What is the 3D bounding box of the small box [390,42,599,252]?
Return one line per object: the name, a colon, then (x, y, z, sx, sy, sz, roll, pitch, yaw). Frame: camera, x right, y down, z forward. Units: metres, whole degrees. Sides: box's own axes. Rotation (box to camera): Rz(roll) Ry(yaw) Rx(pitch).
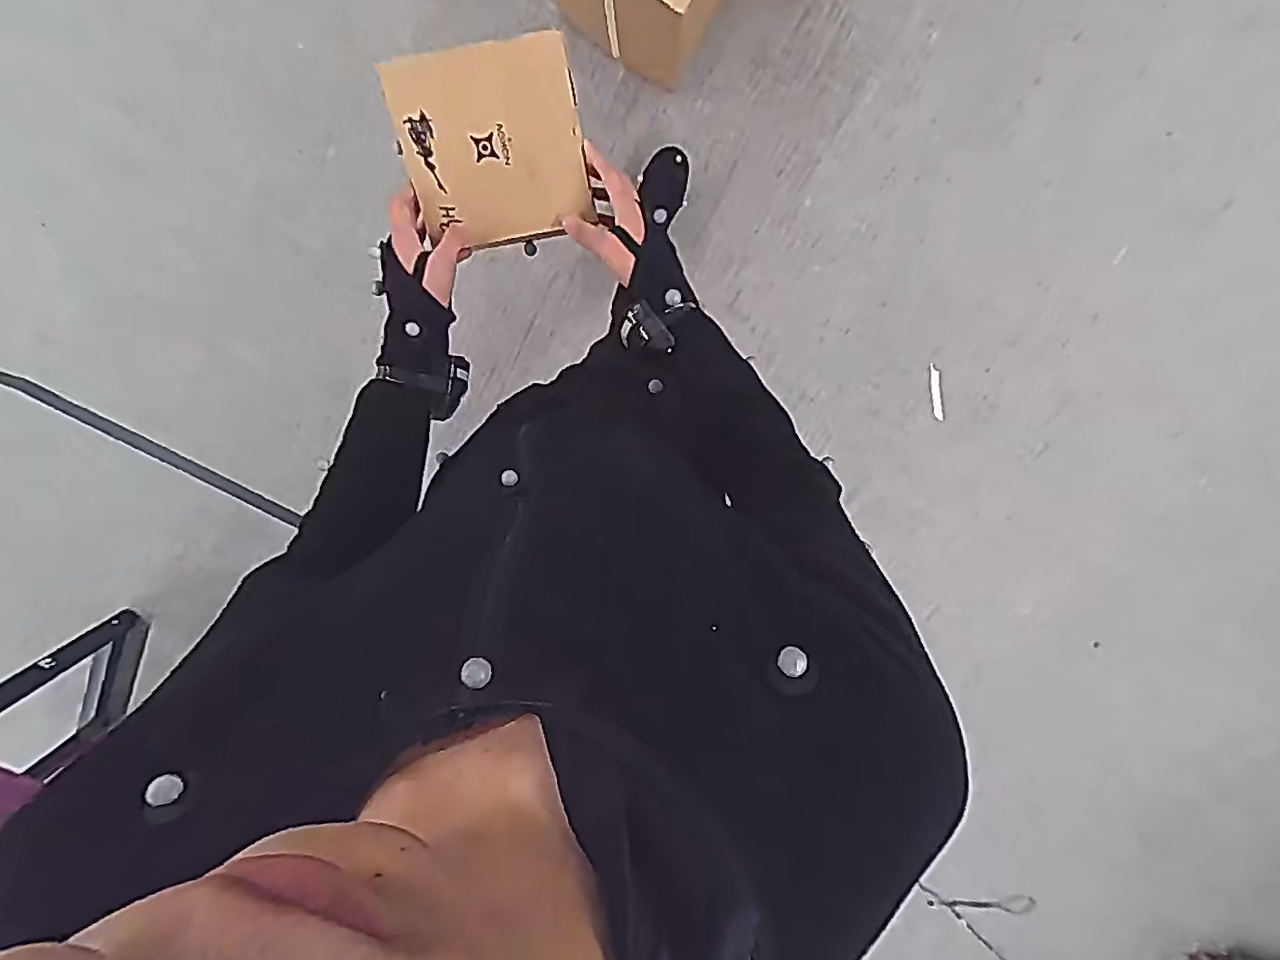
small box: (-0.149, -0.362, 0.615, 0.179, 0.176, 0.168, -10, 114, -1)
